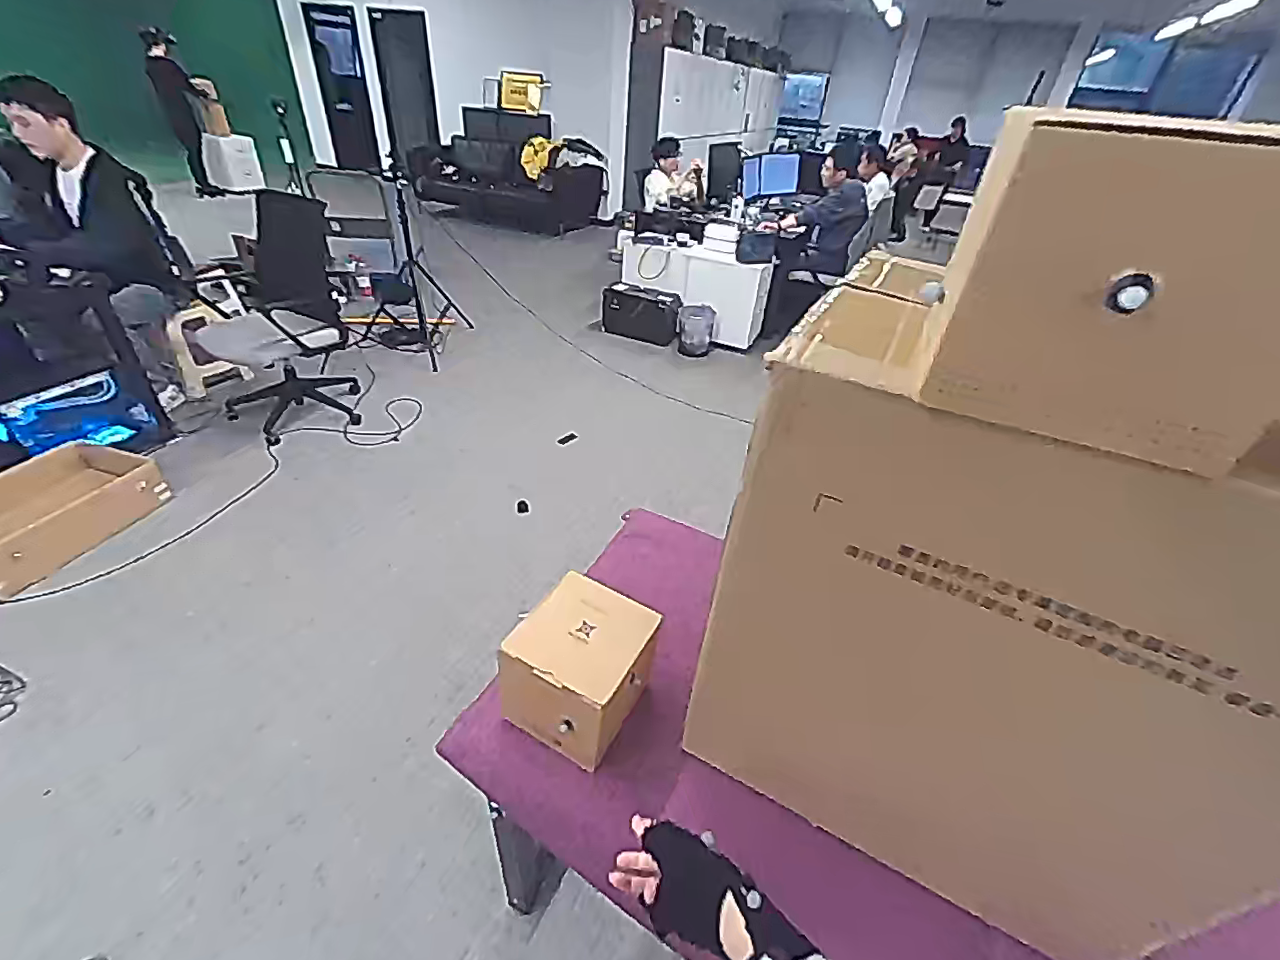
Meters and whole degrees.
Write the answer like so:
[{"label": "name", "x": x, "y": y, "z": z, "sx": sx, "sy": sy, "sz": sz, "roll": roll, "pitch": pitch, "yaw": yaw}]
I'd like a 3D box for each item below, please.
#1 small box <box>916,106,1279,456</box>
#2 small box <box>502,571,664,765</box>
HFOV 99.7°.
[{"label": "small box", "x": 0.309, "y": -0.136, "z": 0.356, "sx": 0.179, "sy": 0.176, "sz": 0.168, "roll": 18, "pitch": 39, "yaw": 19}, {"label": "small box", "x": -0.082, "y": 0.276, "z": 0.799, "sx": 0.168, "sy": 0.176, "sz": 0.179, "roll": 23, "pitch": 37, "yaw": 18}]
